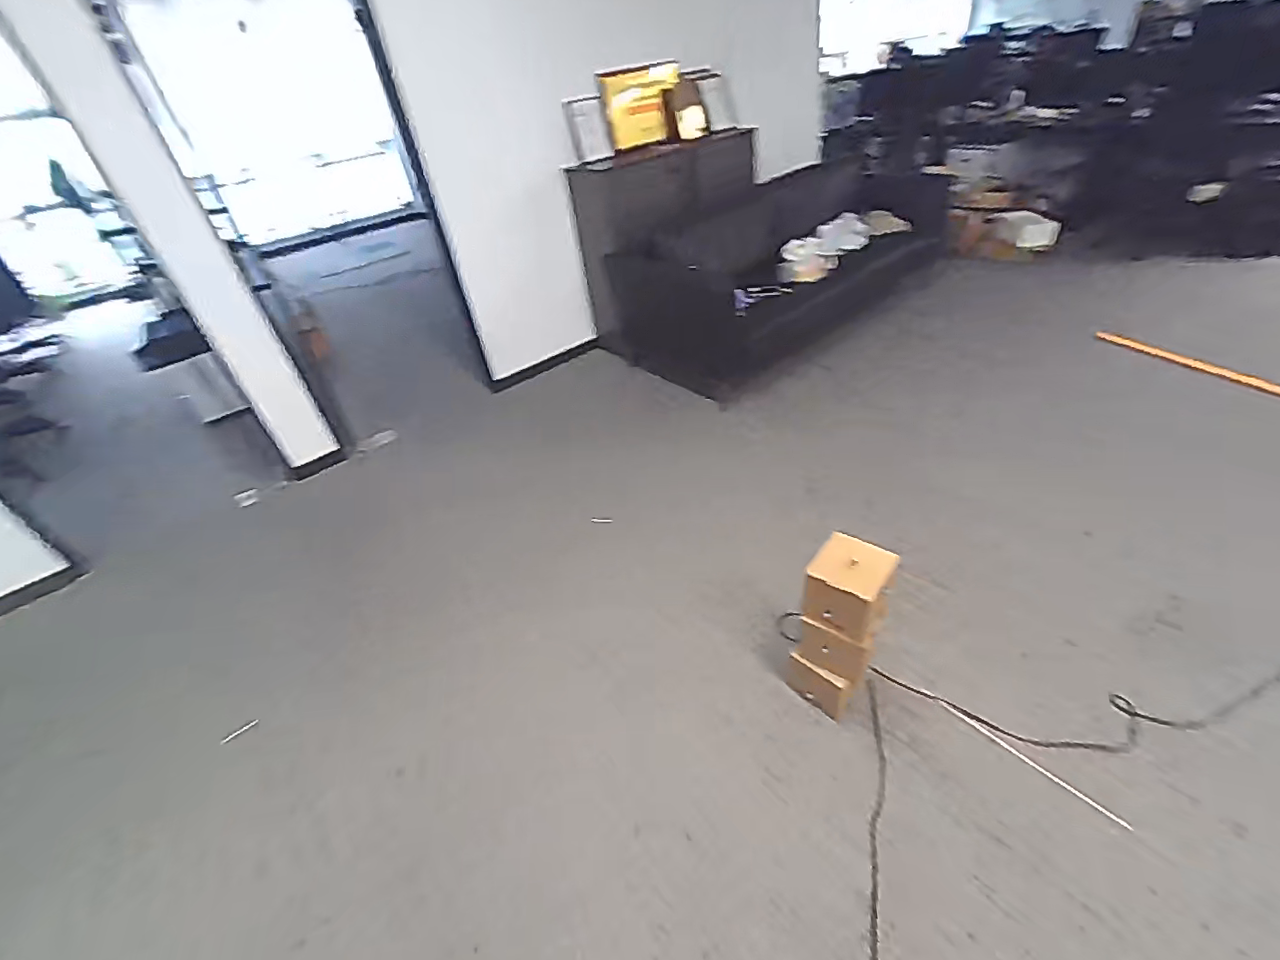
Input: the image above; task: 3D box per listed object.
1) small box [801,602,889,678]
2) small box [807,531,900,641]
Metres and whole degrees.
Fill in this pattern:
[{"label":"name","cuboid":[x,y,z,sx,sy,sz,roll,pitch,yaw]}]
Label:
[{"label":"small box","cuboid":[0.552,0.405,1.466,0.179,0.176,0.168,18,45,34]},{"label":"small box","cuboid":[0.537,0.268,1.377,0.168,0.176,0.179,22,48,36]}]
